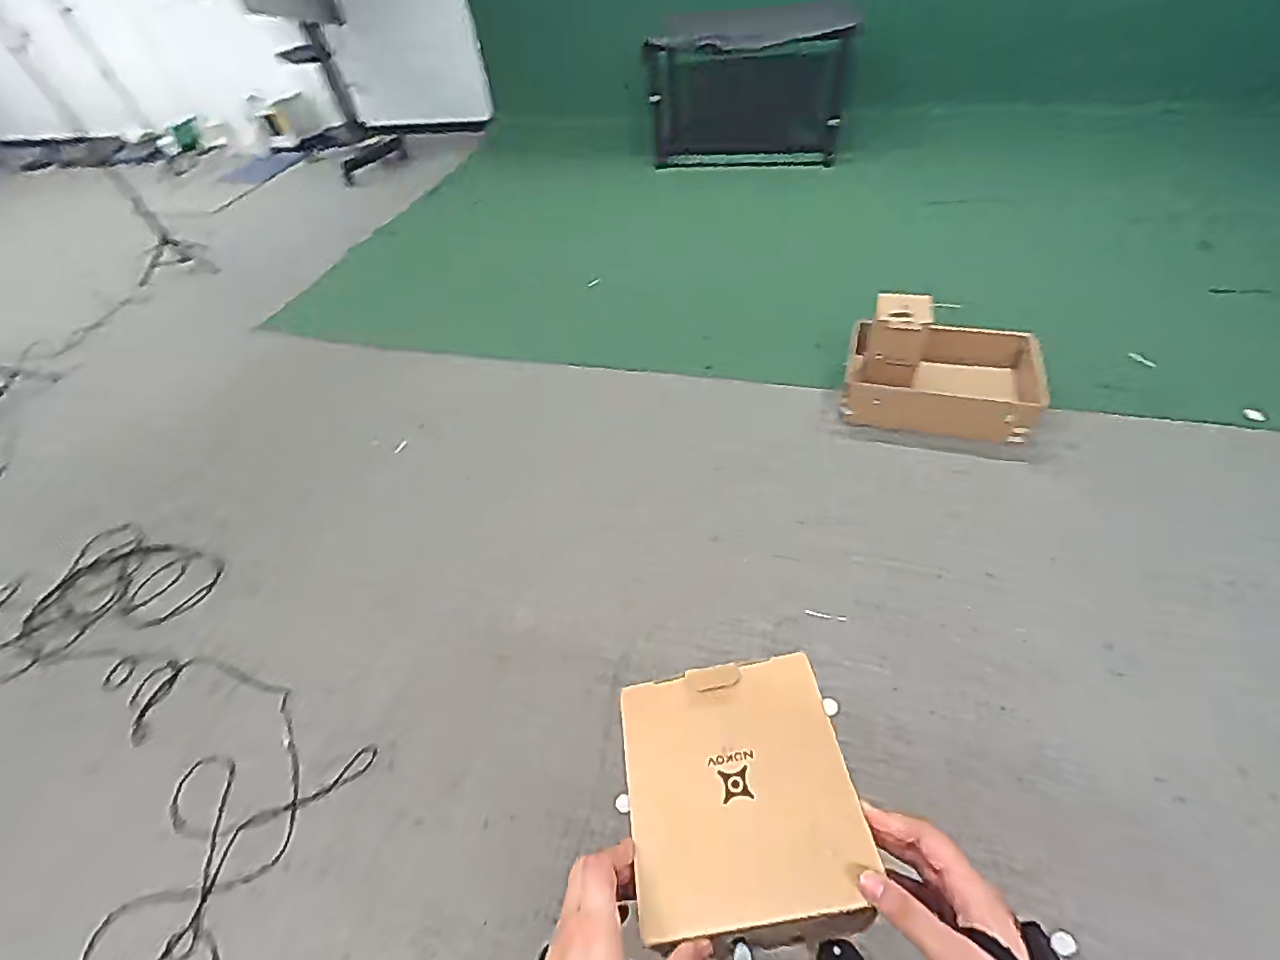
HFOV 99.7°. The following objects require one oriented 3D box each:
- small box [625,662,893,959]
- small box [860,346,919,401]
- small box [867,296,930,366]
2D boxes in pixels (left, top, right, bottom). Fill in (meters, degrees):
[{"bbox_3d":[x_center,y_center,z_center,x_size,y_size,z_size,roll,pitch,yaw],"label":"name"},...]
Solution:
[{"bbox_3d":[0.089,0.284,0.454,0.168,0.176,0.179,-12,43,4],"label":"small box"},{"bbox_3d":[0.924,-0.419,2.014,0.168,0.176,0.179,8,52,14],"label":"small box"},{"bbox_3d":[0.899,-0.518,1.884,0.168,0.176,0.179,10,51,15],"label":"small box"}]
